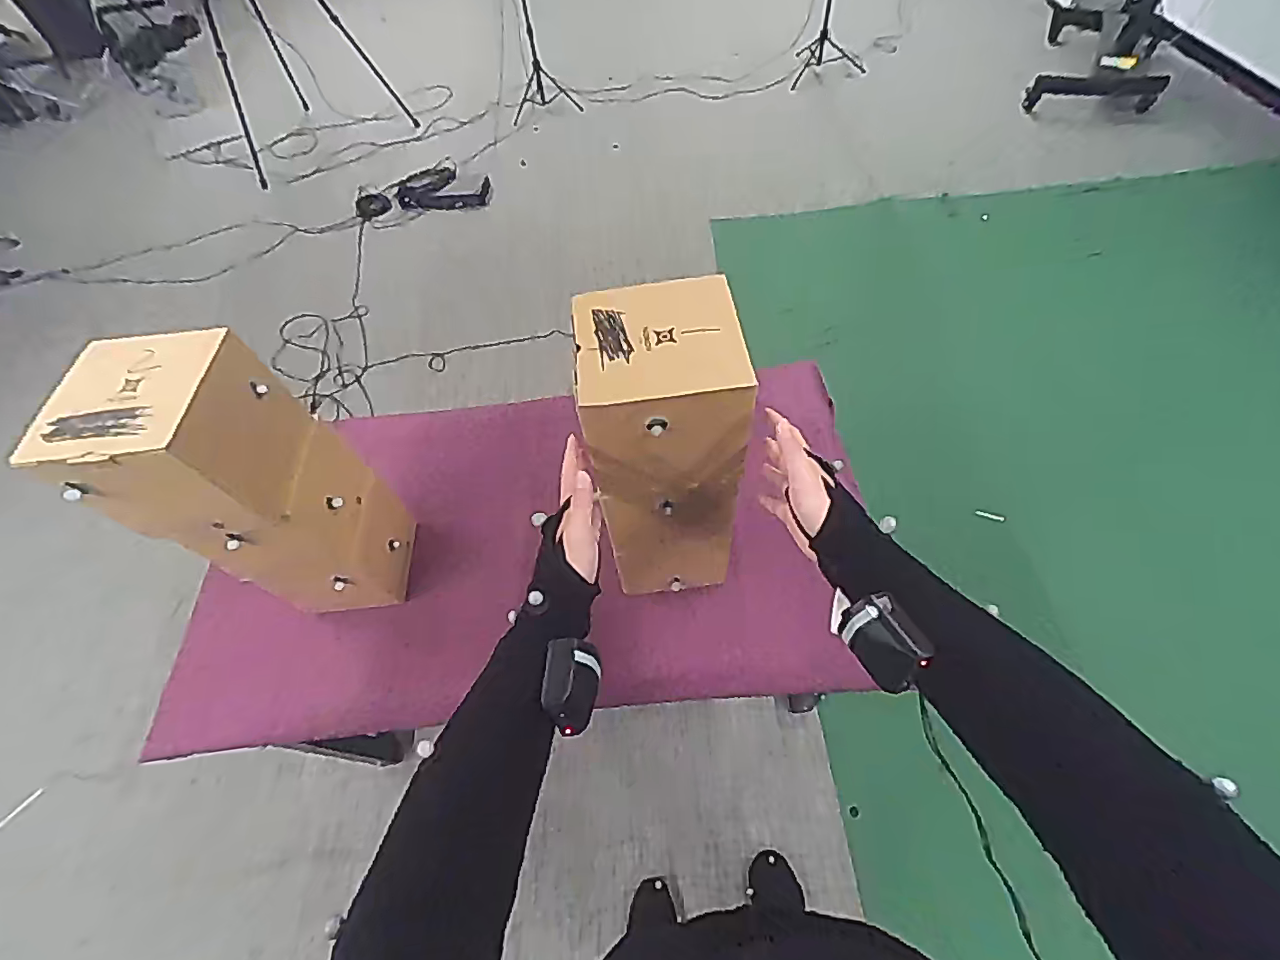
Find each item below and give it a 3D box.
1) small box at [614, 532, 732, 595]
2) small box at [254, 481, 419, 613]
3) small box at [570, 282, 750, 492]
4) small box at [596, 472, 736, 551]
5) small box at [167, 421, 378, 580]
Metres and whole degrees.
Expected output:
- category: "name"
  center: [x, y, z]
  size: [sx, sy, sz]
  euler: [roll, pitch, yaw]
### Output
- category: "small box"
  center: [0.048, 0.079, 0.903]
  size: [0.179, 0.176, 0.168]
  euler: [-8, 57, 1]
- category: "small box"
  center: [-0.505, 0.119, 0.933]
  size: [0.179, 0.176, 0.168]
  euler: [-6, 57, 2]
- category: "small box"
  center: [0.022, -0.099, 0.629]
  size: [0.179, 0.176, 0.168]
  euler: [-7, 58, 1]
- category: "small box"
  center: [0.035, -0.010, 0.767]
  size: [0.179, 0.176, 0.168]
  euler: [-7, 58, 2]
- category: "small box"
  center: [-0.518, 0.036, 0.796]
  size: [0.179, 0.176, 0.168]
  euler: [-7, 58, 2]
